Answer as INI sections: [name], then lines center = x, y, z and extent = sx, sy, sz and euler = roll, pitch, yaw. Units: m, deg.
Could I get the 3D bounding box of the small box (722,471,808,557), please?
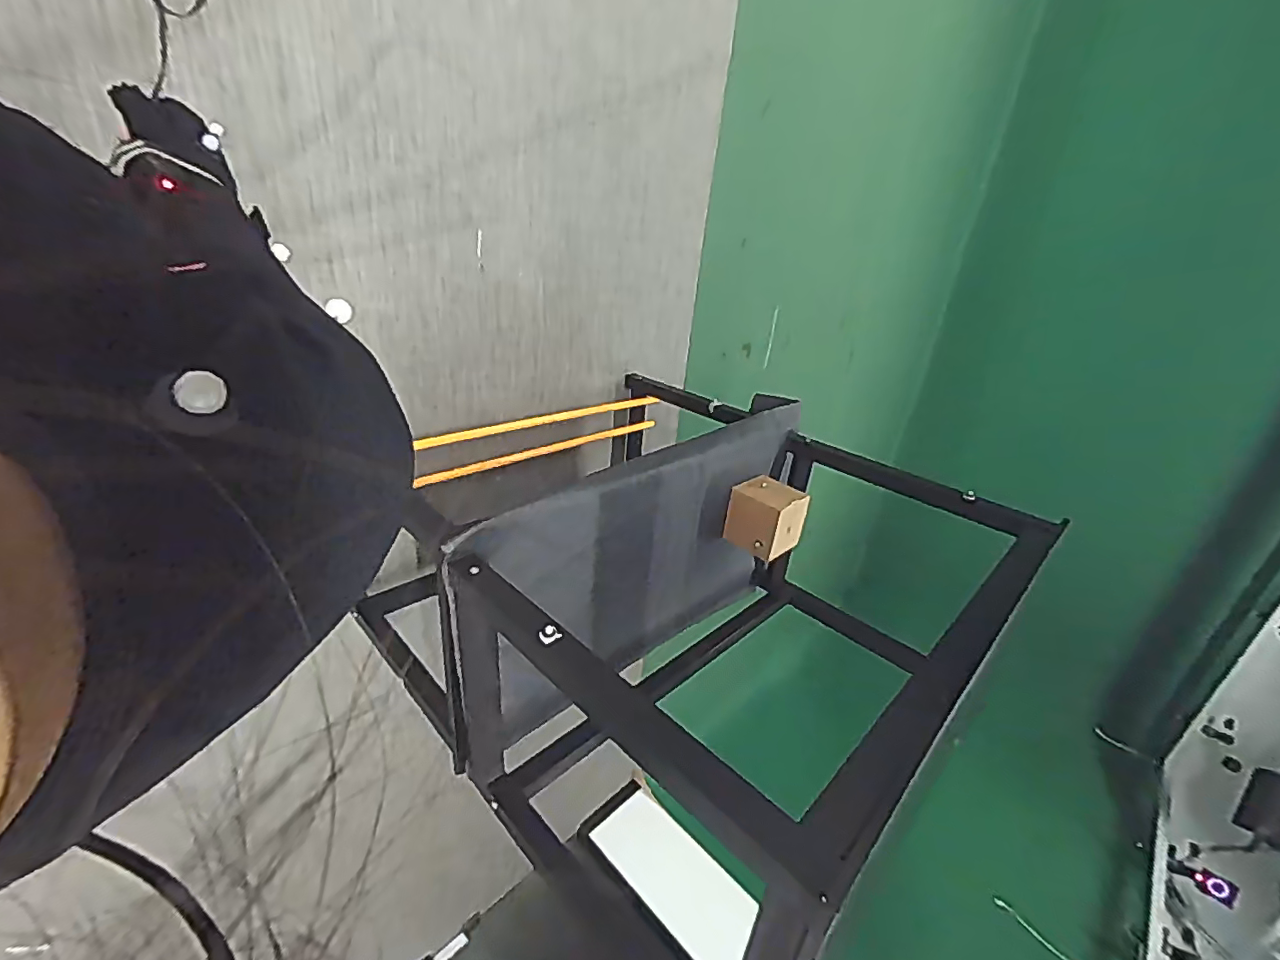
[small box]
center = 0.364, 0.096, 1.602
extent = 0.168, 0.176, 0.179
euler = -19, 126, -42
